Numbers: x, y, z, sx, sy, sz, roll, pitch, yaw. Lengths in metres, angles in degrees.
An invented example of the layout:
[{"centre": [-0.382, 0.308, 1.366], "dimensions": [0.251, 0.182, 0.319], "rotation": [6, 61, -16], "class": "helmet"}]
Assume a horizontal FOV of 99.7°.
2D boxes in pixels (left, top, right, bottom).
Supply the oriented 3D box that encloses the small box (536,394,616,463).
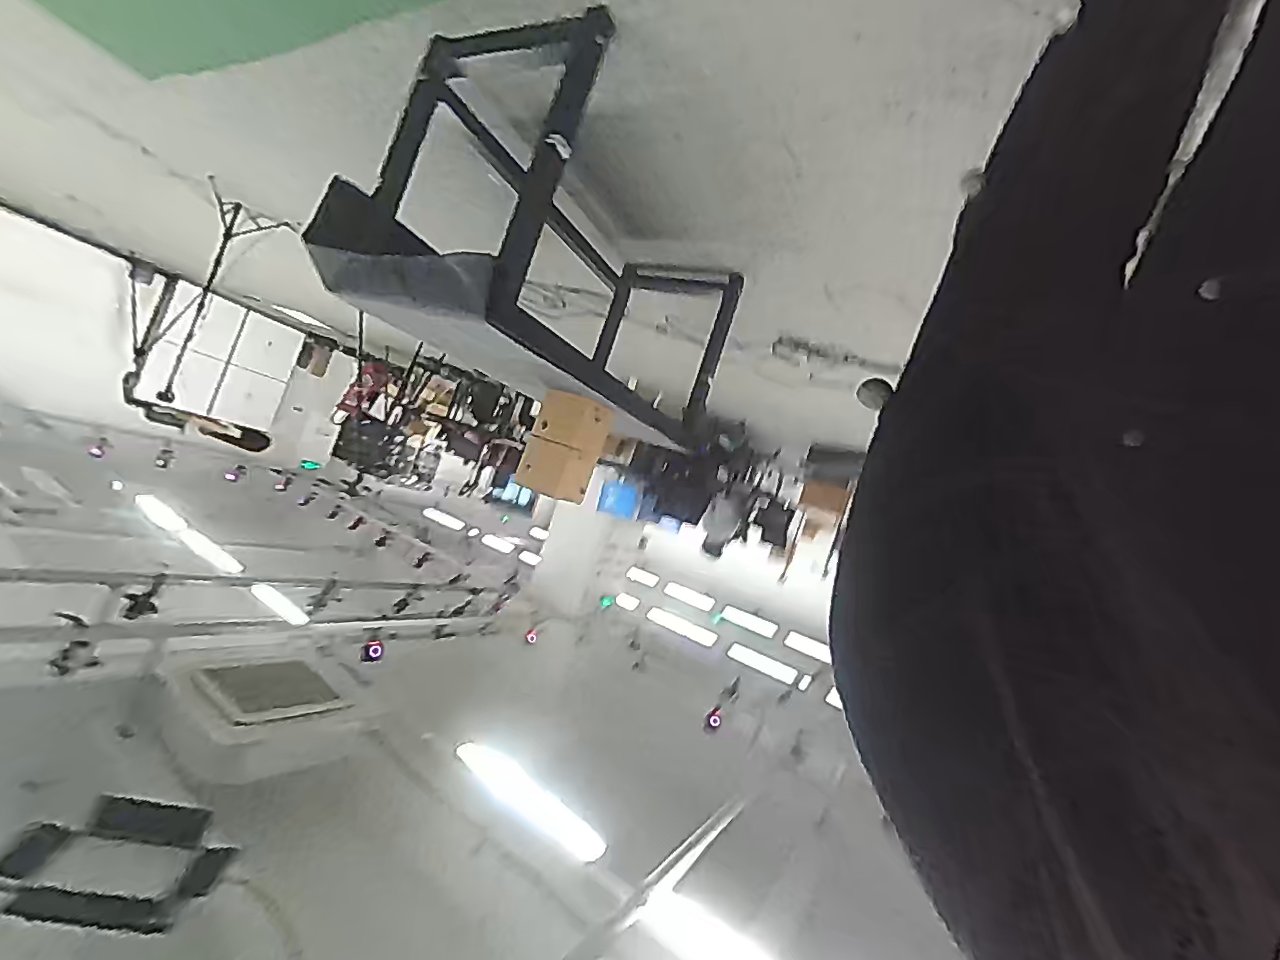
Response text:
[{"centre": [-0.205, -0.172, 1.775], "dimensions": [0.179, 0.176, 0.168], "rotation": [18, 177, 30], "class": "small box"}]
